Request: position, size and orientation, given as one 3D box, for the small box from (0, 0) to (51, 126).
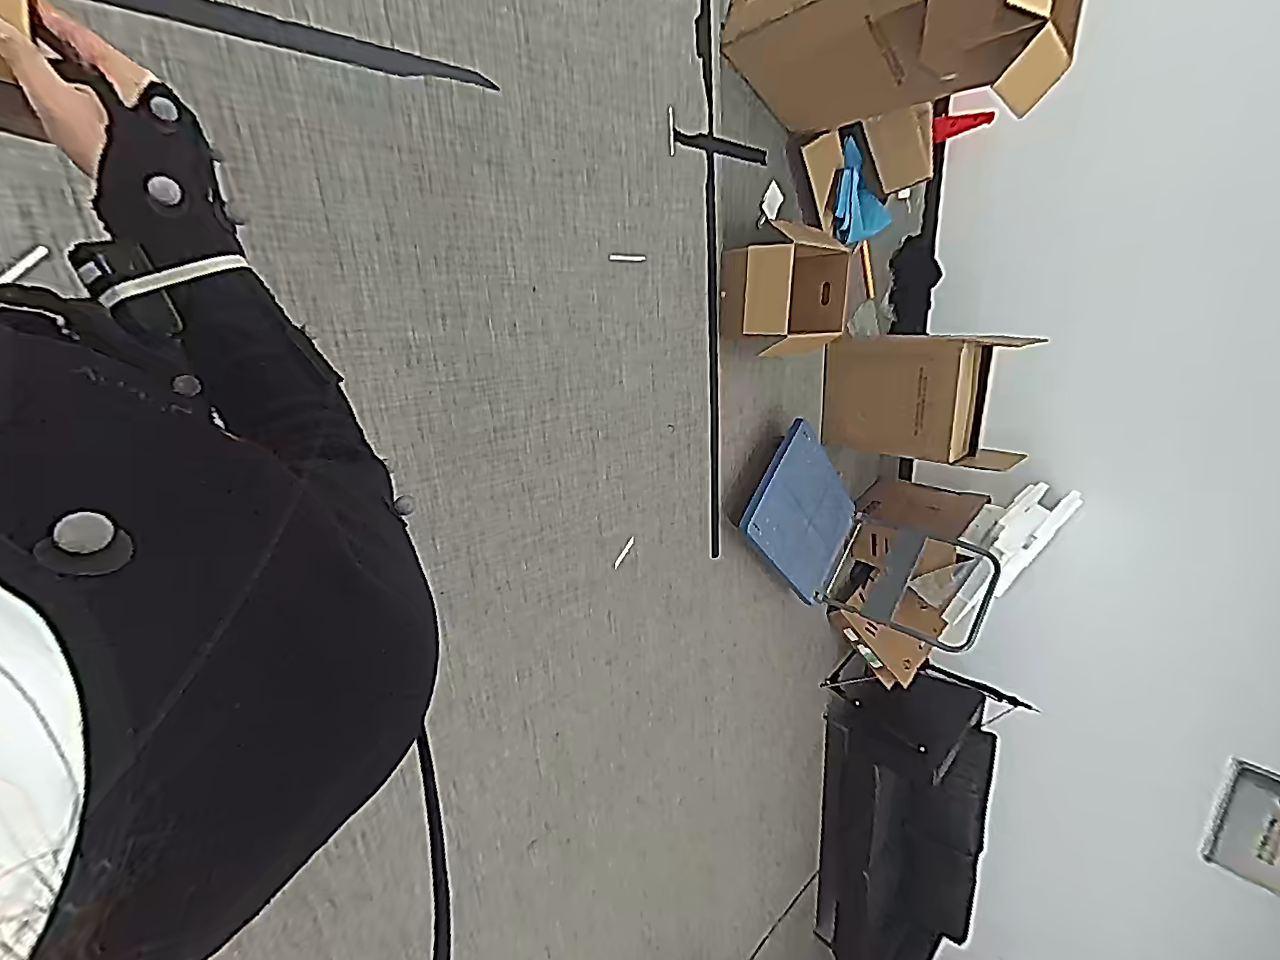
[{"bbox_3d":[-0.469,-0.329,0.302,0.179,0.176,0.168,-5,108,-45],"label":"small box"}]
